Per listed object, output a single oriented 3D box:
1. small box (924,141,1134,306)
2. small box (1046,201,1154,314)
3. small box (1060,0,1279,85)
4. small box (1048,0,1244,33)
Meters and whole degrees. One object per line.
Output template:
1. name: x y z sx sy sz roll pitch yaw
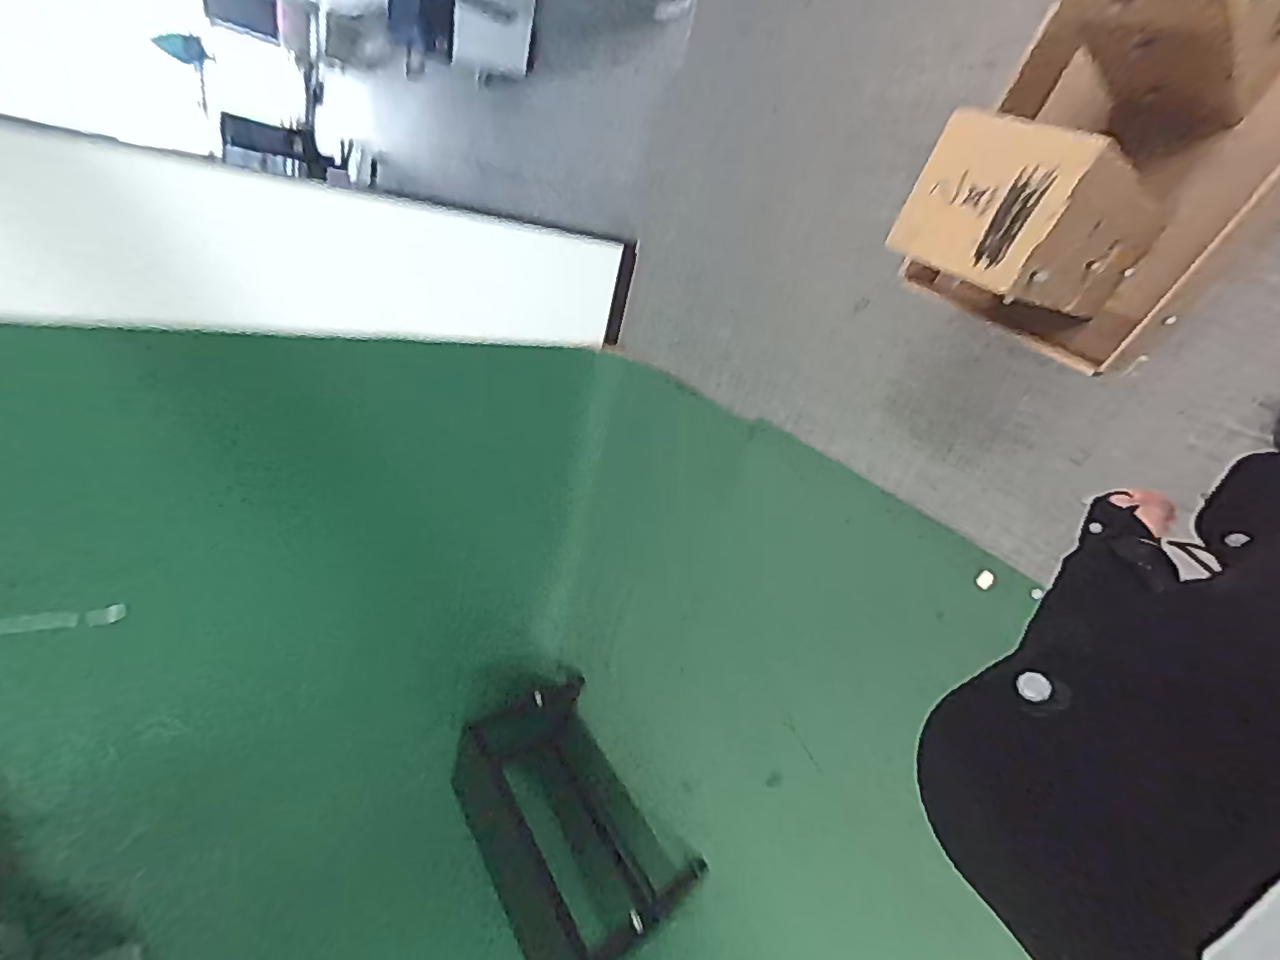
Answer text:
1. small box: 0.576 -0.372 0.806 0.179 0.176 0.168 46 128 33
2. small box: 0.700 -0.390 0.908 0.179 0.176 0.168 47 130 34
3. small box: 0.668 -0.608 0.652 0.179 0.176 0.168 44 128 34
4. small box: 0.547 -0.584 0.544 0.179 0.176 0.168 44 129 36
